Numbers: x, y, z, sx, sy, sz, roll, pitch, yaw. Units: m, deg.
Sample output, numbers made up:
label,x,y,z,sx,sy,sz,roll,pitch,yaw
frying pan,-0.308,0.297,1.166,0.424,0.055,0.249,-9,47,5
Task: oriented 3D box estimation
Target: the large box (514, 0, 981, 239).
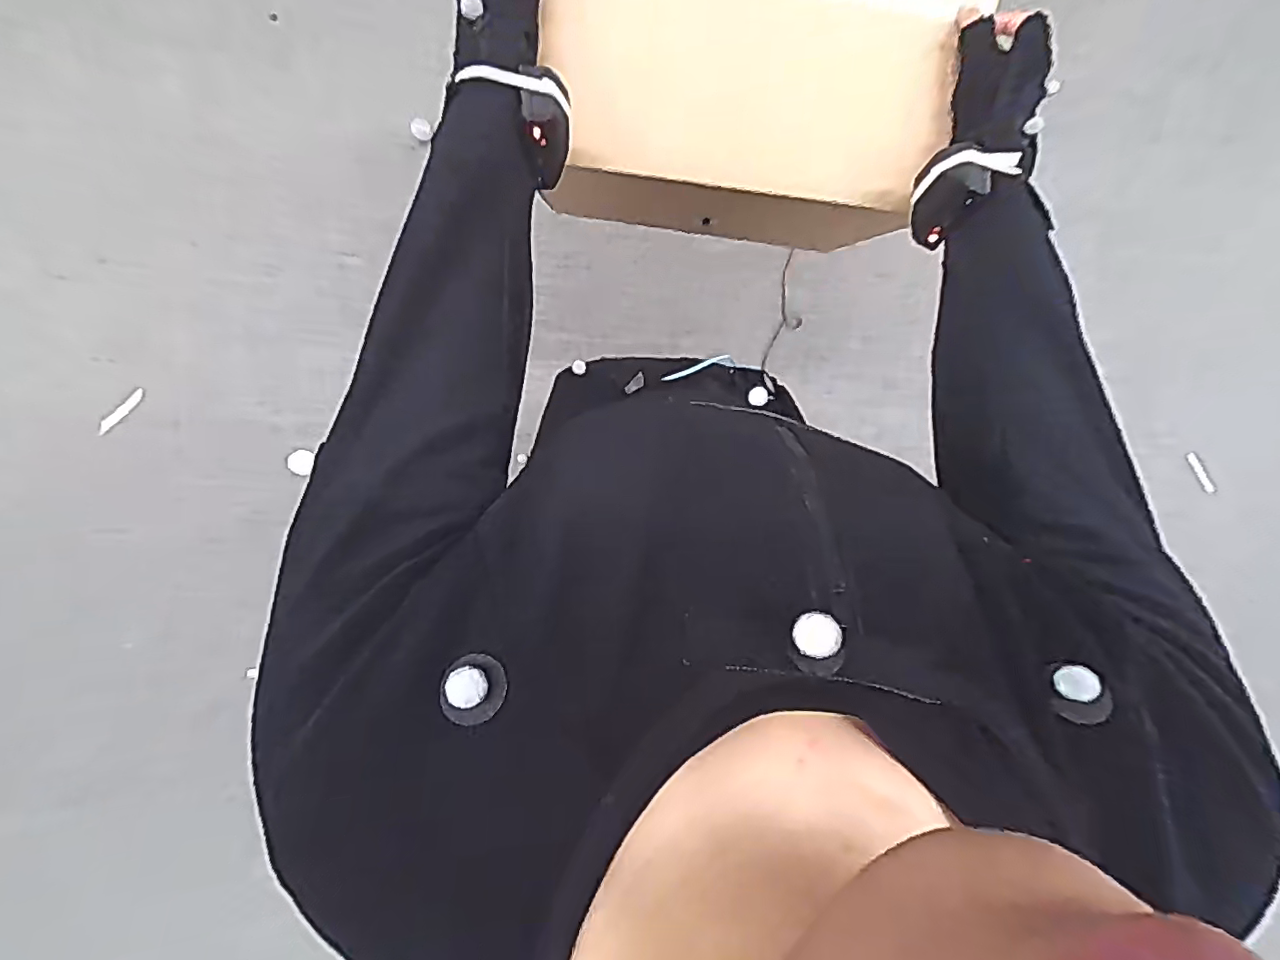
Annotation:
label,x,y,z,sx,sy,sz,roll,pitch,yaw
large box,0.097,-0.468,0.603,0.408,0.320,0.320,6,106,-2
